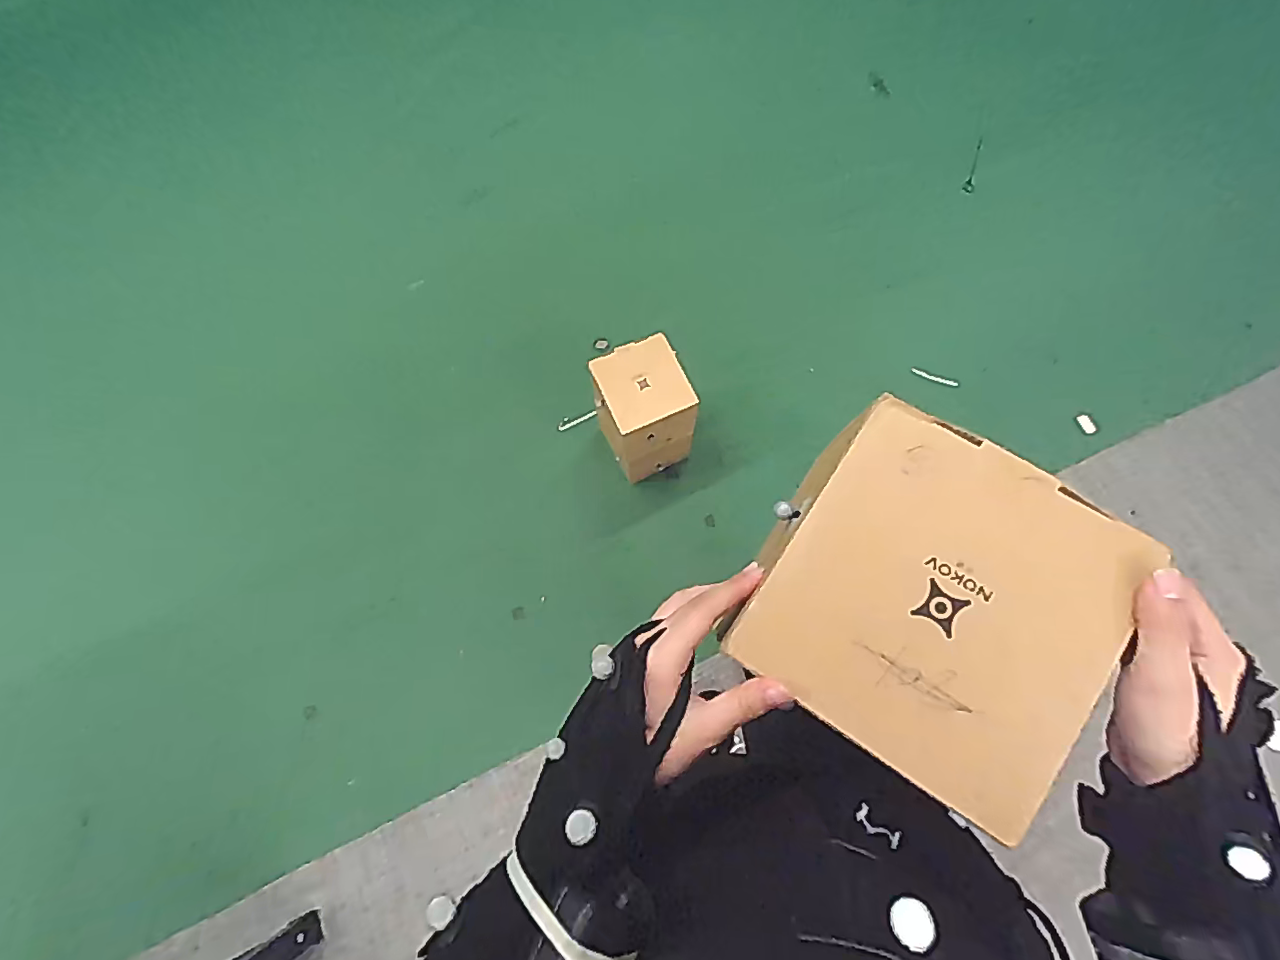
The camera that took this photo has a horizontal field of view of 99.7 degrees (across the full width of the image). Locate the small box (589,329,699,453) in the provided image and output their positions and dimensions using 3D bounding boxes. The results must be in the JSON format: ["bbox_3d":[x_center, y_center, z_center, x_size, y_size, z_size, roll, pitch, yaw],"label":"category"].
[{"bbox_3d":[0.012,-0.173,1.123,0.168,0.176,0.179,-24,73,-5],"label":"small box"}]
